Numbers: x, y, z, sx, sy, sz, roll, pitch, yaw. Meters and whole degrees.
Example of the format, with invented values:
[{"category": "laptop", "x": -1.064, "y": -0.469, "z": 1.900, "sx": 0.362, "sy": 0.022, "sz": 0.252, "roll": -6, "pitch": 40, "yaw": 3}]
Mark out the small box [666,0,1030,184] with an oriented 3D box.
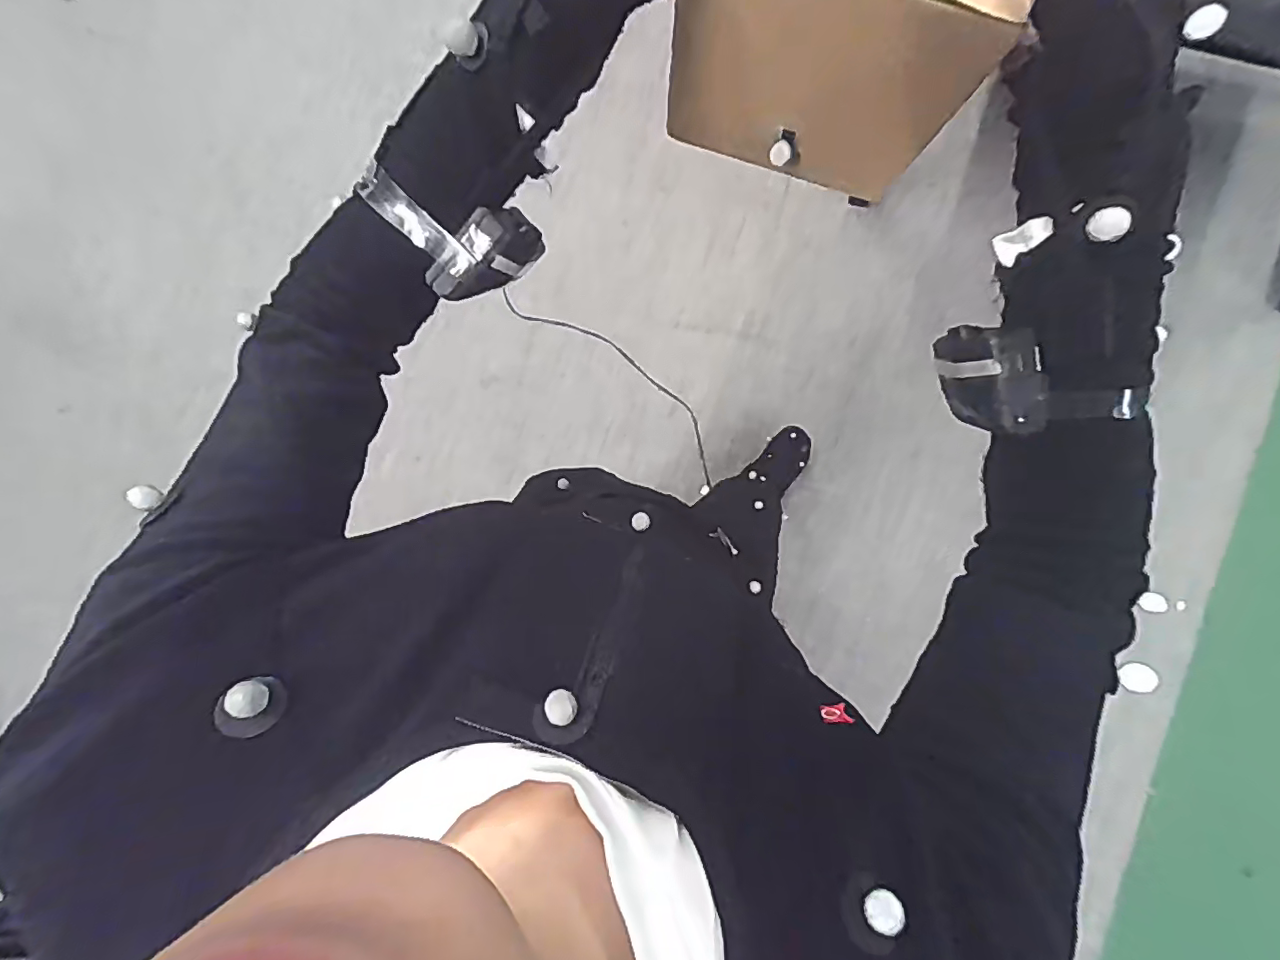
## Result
[{"category": "small box", "x": 0.126, "y": -0.323, "z": 0.340, "sx": 0.179, "sy": 0.176, "sz": 0.168, "roll": 18, "pitch": 90, "yaw": -2}]
